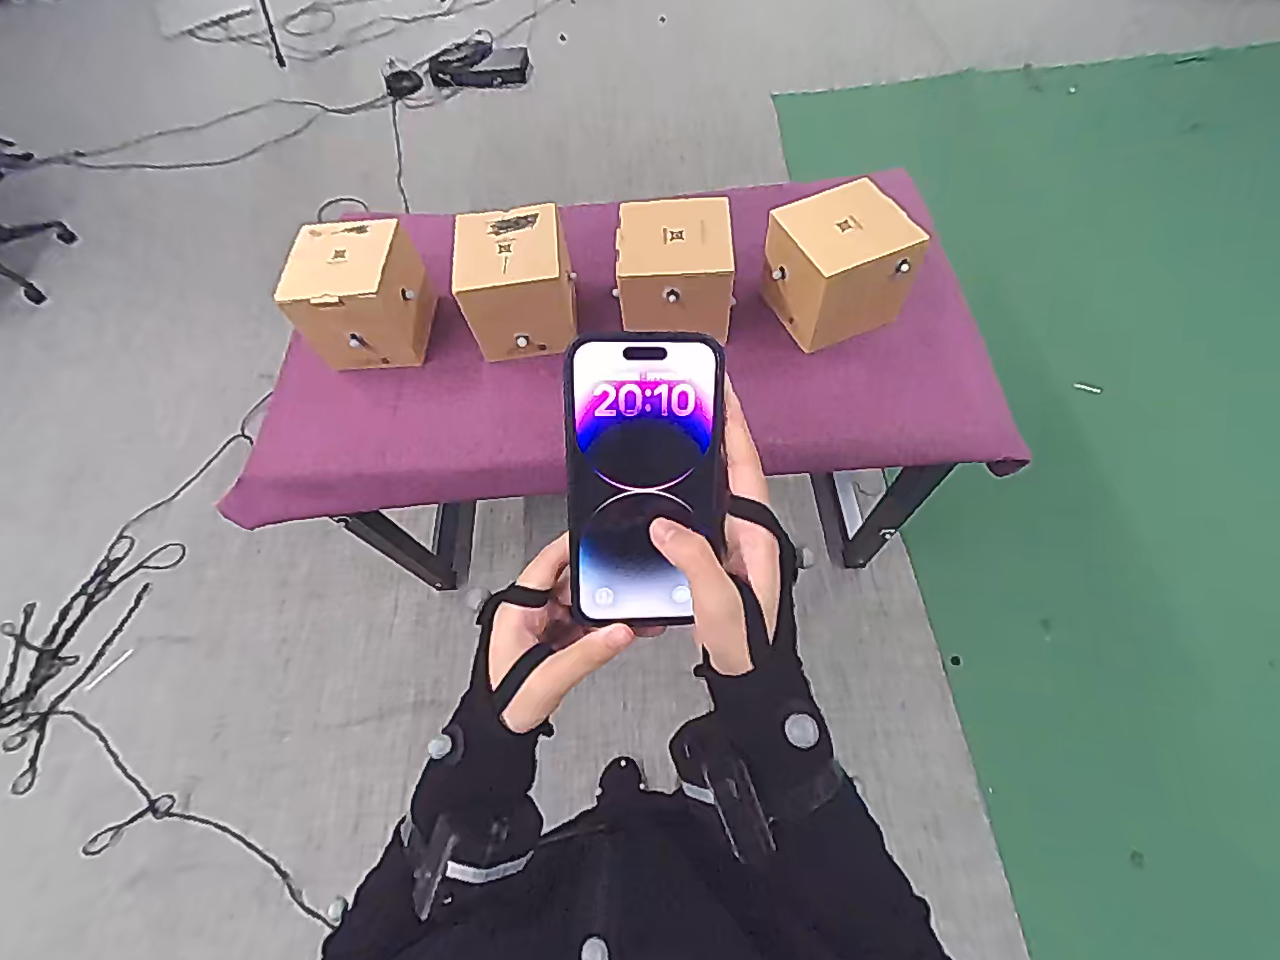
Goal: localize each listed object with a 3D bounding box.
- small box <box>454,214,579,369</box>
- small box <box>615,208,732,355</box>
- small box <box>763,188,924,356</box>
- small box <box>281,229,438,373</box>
[{"bbox_3d":[-0.201,-0.316,0.921,0.168,0.176,0.179,-7,62,1],"label":"small box"},{"bbox_3d":[0.058,-0.324,0.904,0.179,0.176,0.168,-1,62,4],"label":"small box"},{"bbox_3d":[0.316,-0.333,0.885,0.179,0.176,0.168,-22,61,-7],"label":"small box"},{"bbox_3d":[-0.468,-0.299,0.935,0.168,0.176,0.179,-3,62,3],"label":"small box"}]
